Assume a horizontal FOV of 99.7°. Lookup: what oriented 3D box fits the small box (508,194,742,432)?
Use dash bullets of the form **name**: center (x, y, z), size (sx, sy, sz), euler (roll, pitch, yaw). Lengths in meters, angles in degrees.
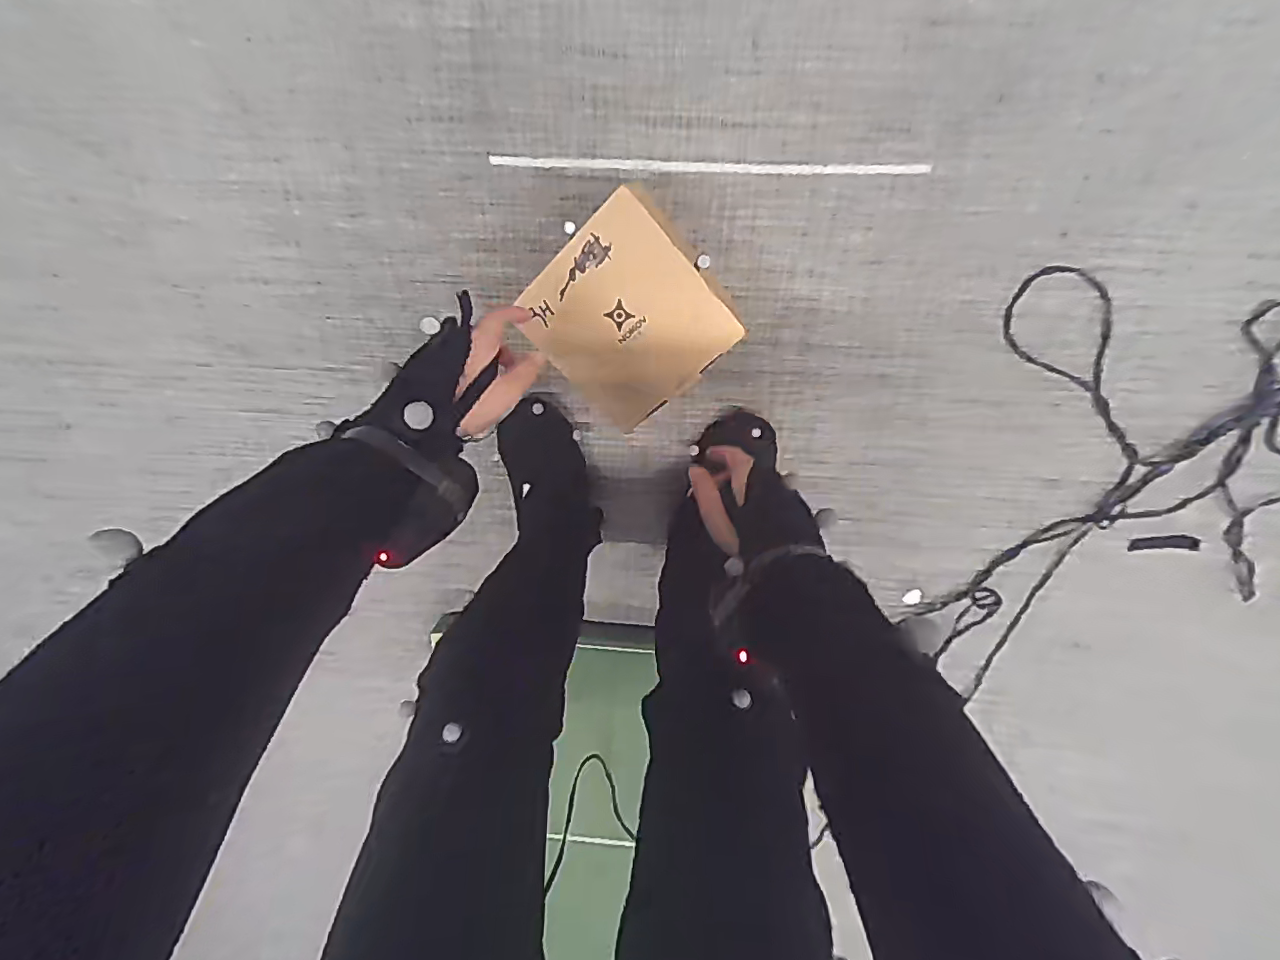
- **small box**: center (-0.009, -0.192, 0.600), size (0.168, 0.176, 0.179), euler (-38, 110, 21)
